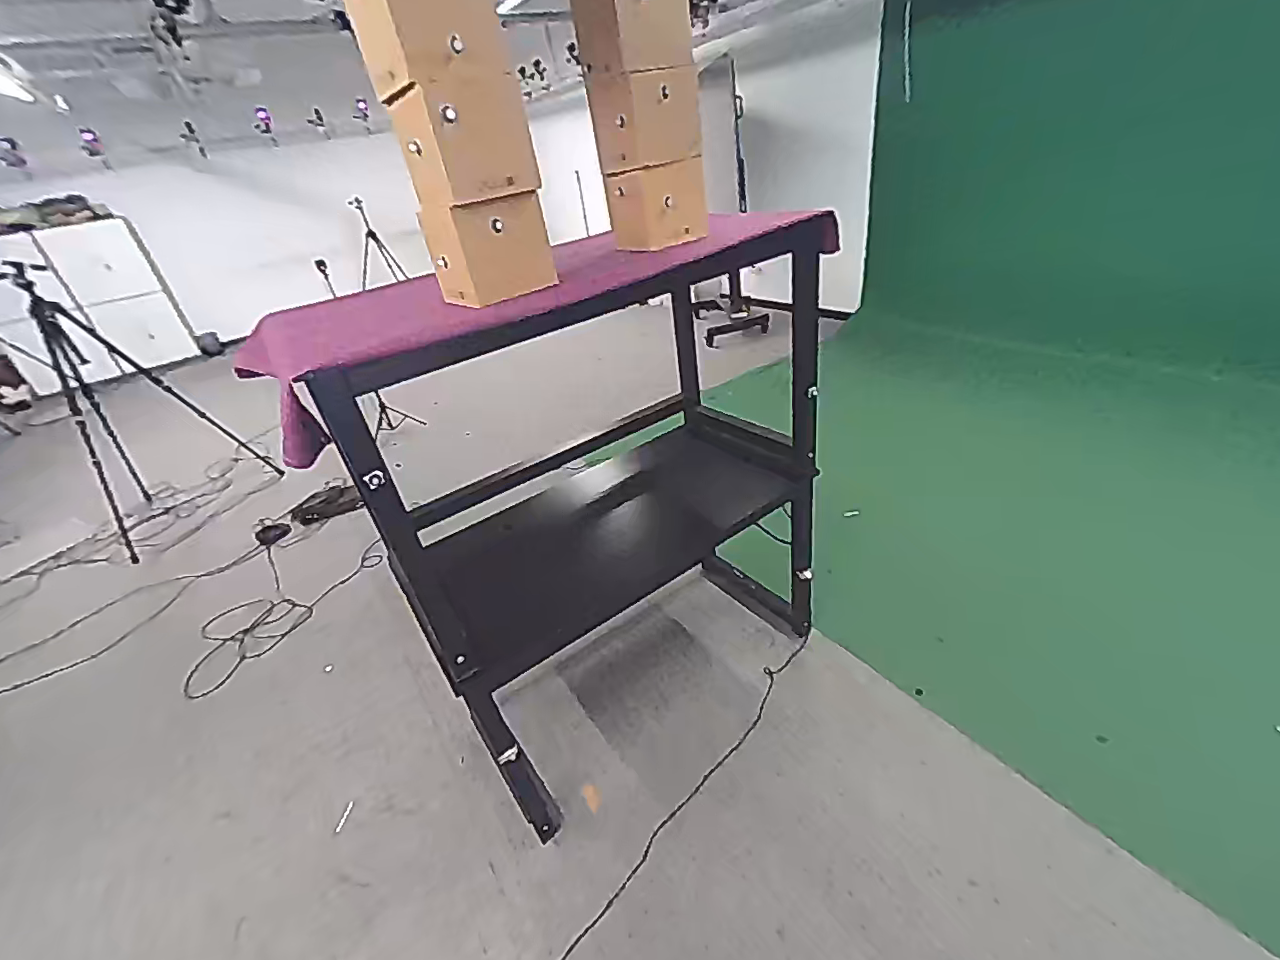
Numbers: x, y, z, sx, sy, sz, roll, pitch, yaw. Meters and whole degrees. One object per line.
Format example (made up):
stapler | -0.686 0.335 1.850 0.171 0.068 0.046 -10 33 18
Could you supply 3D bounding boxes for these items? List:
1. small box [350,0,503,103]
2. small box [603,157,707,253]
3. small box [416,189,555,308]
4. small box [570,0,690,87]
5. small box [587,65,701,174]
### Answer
small box | -0.335 -0.713 0.854 0.179 0.176 0.168 -30 35 -29
small box | 0.038 -0.633 1.256 0.168 0.176 0.179 -25 33 -23
small box | -0.285 -0.433 1.017 0.179 0.176 0.168 -29 36 -29
small box | -0.016 -0.911 1.093 0.179 0.176 0.168 -26 34 -24
small box | 0.014 -0.767 1.166 0.179 0.176 0.168 -27 34 -26
